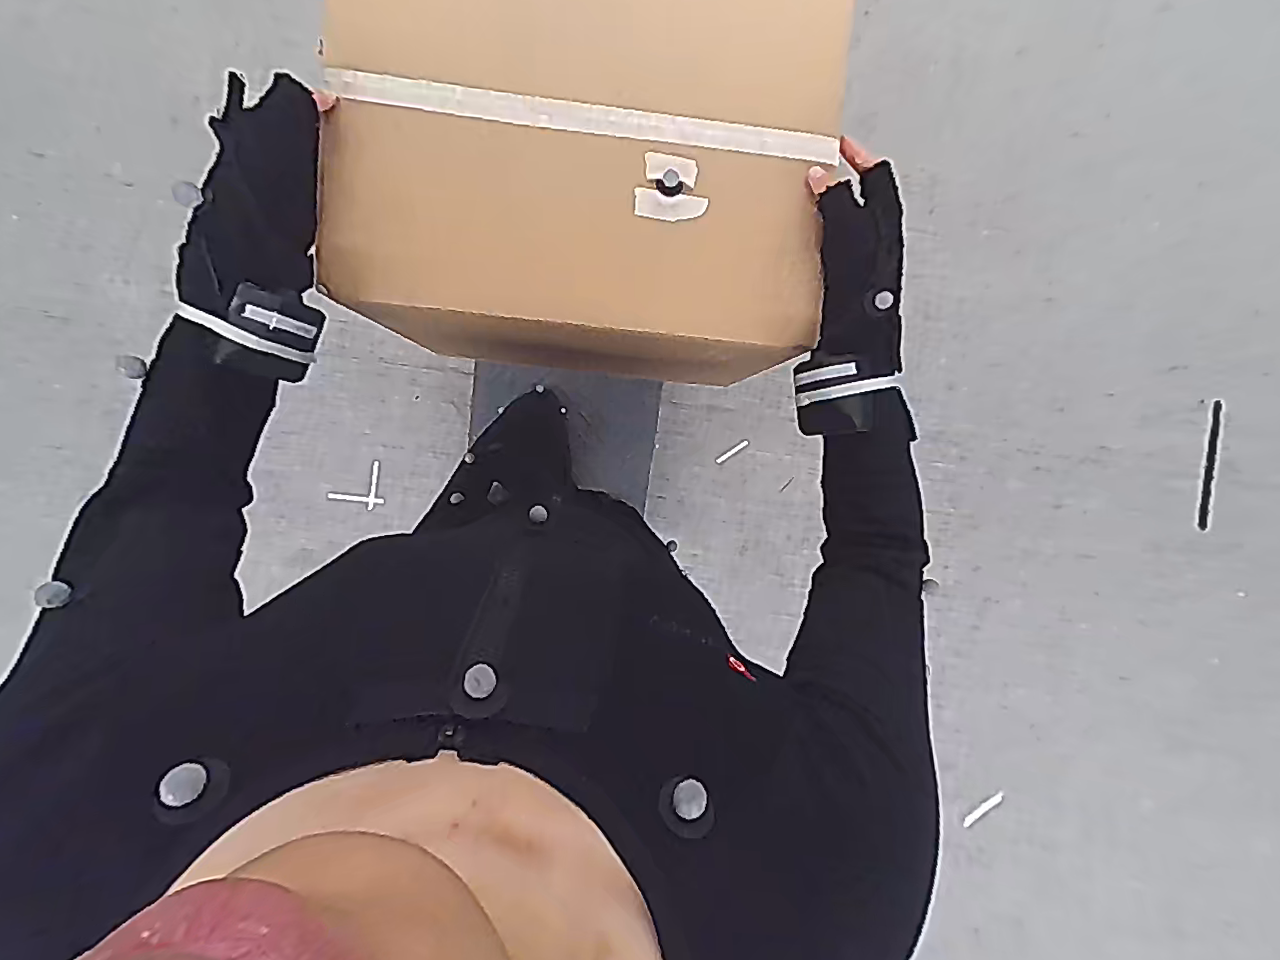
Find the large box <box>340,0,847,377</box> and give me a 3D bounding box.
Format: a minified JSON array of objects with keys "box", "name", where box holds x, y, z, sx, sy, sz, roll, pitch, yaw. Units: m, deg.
[{"box":[-0.047,-0.300,0.589,0.408,0.320,0.320,5,94,-5],"name":"large box"}]
